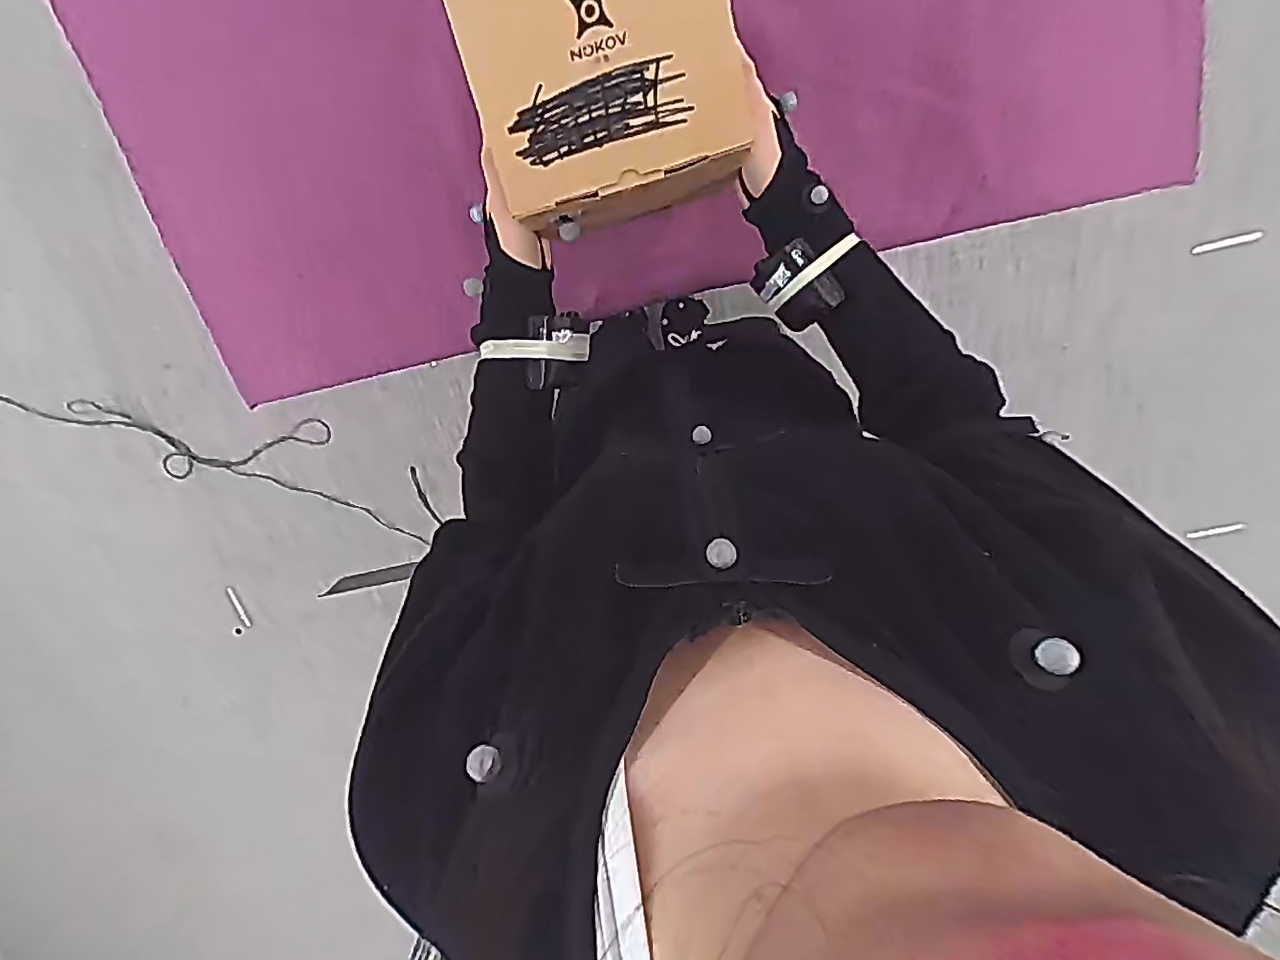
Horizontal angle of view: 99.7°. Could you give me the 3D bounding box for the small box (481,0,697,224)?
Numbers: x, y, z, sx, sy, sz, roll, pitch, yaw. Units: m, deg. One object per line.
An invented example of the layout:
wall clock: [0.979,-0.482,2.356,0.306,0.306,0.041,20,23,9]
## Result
small box: [-0.041,-0.379,0.550,0.168,0.176,0.179,-10,108,5]
